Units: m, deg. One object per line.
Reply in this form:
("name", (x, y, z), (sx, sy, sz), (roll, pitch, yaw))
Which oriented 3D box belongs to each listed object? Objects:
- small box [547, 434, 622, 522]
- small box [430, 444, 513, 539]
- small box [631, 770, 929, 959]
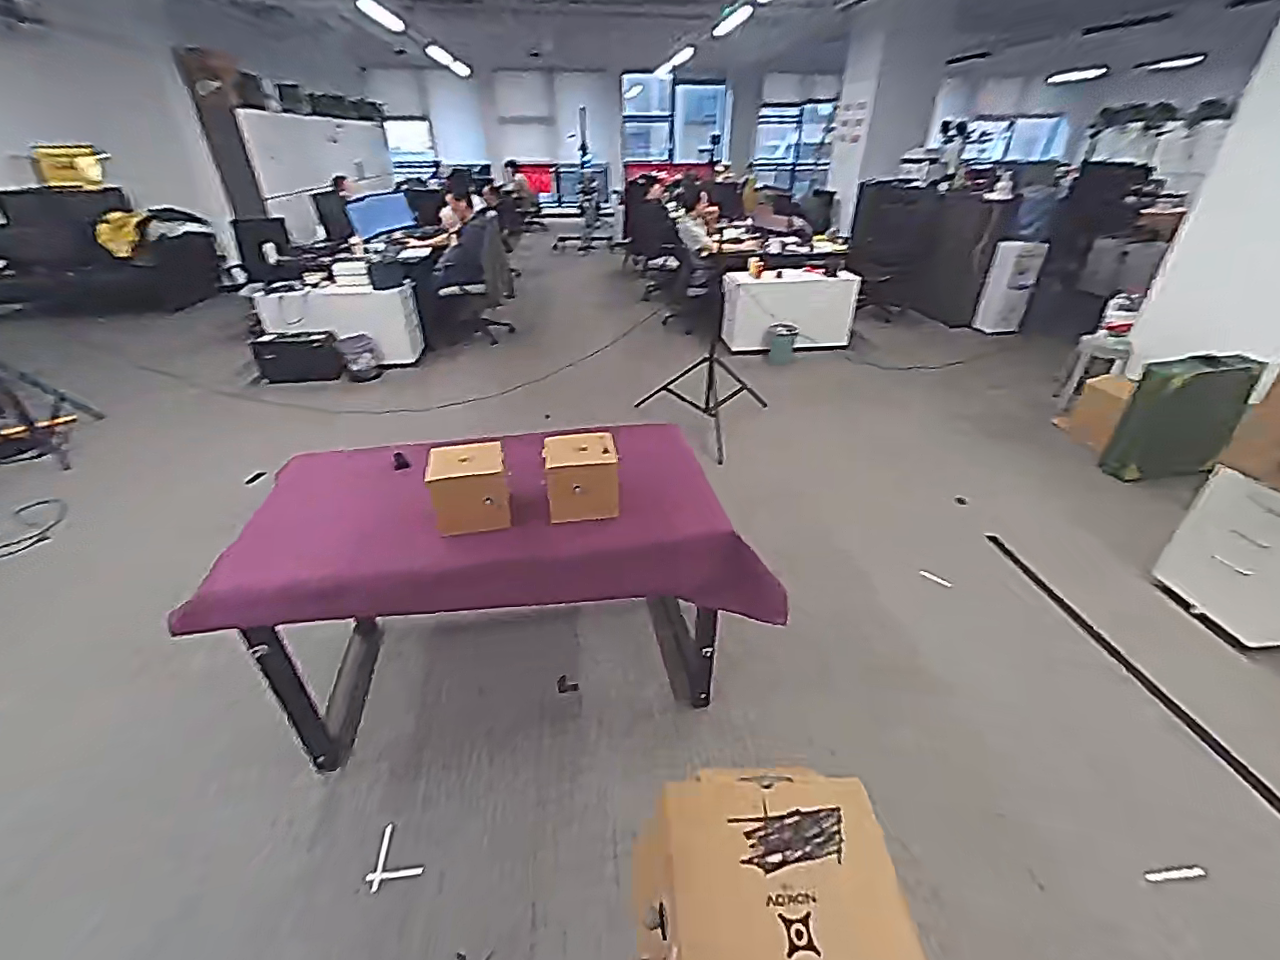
("small box", (-0.146, -0.002, 1.419), (0.179, 0.176, 0.168), (-6, 32, -7))
("small box", (-0.421, 0.028, 1.376), (0.179, 0.176, 0.168), (-9, 31, -11))
("small box", (0.090, 0.348, 0.409), (0.168, 0.176, 0.179), (3, 40, -11))
